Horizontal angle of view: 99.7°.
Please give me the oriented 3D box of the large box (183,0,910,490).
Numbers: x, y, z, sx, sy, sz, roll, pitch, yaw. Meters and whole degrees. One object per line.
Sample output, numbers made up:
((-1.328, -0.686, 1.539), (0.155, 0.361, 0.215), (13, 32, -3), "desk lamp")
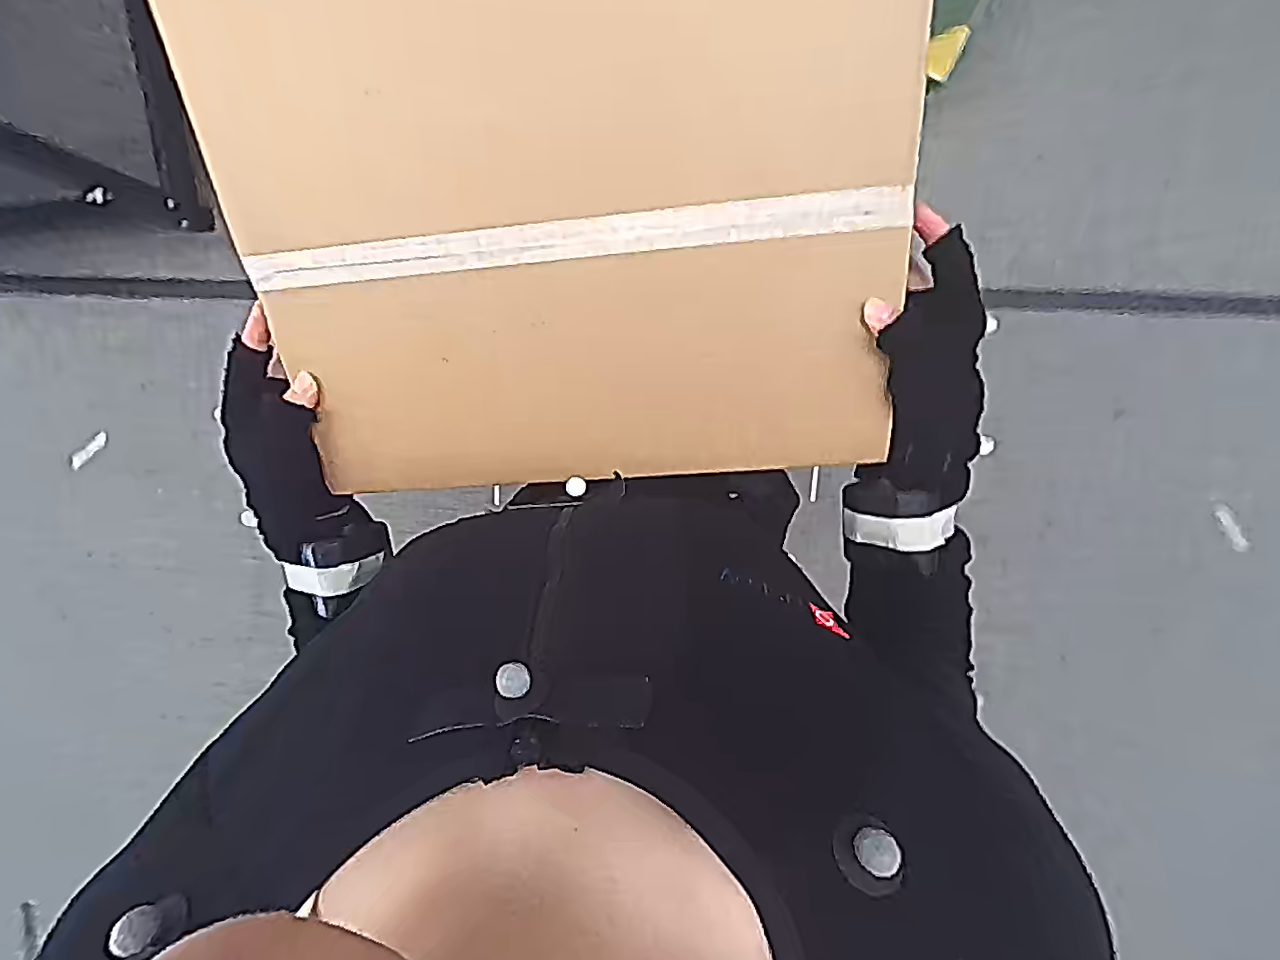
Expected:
((-0.038, -0.205, 0.475), (0.408, 0.320, 0.320), (-4, 114, 5), "large box")
